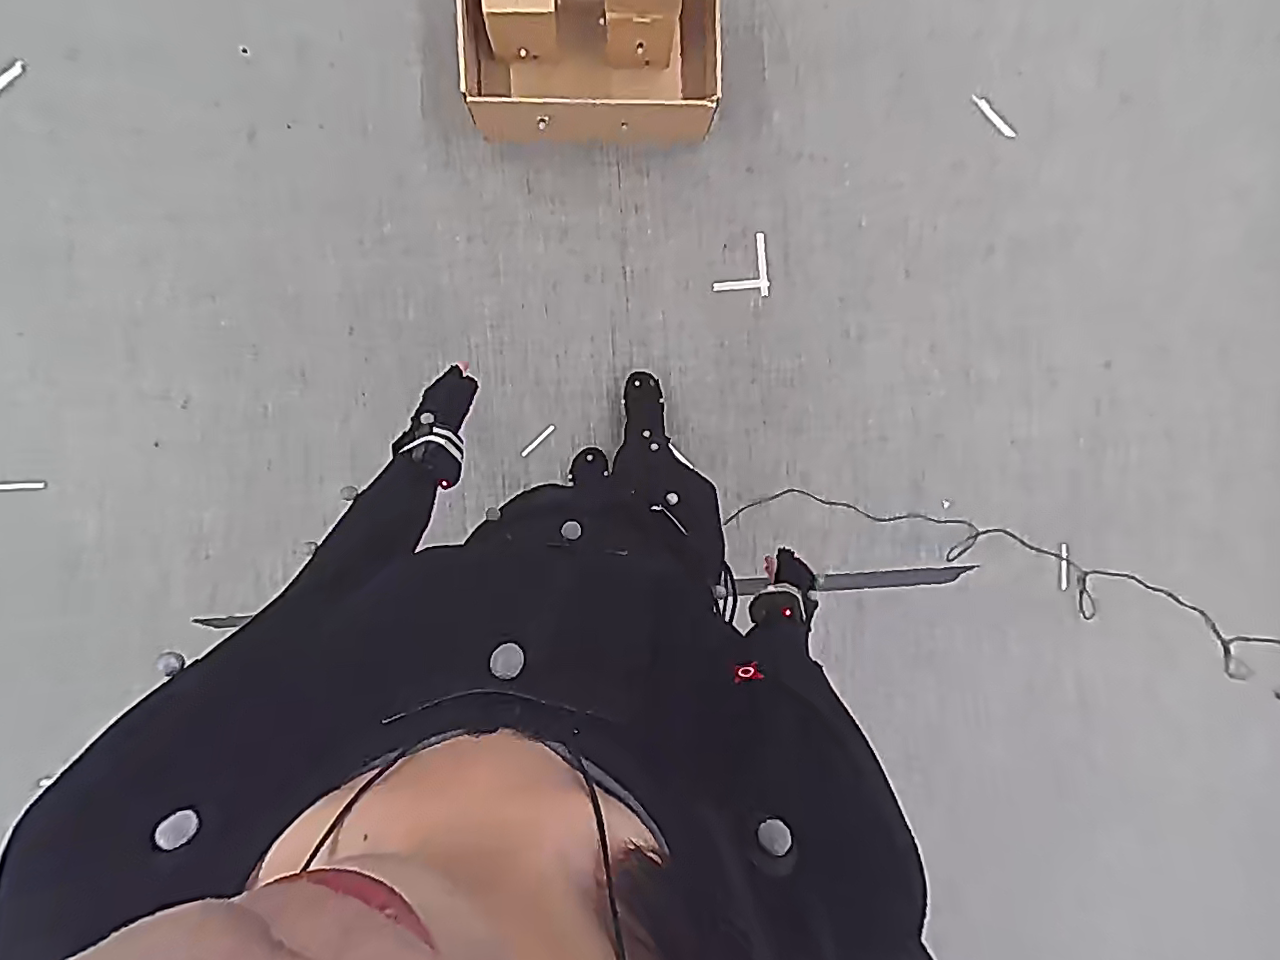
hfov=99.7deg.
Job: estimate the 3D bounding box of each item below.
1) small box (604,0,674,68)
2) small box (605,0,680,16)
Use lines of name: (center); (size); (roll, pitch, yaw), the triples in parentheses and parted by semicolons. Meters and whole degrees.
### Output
small box: (-0.002, -1.153, 1.327); (0.168, 0.176, 0.179); (0, 95, -1)
small box: (0.011, -1.147, 1.162); (0.179, 0.176, 0.168); (0, 92, -2)
